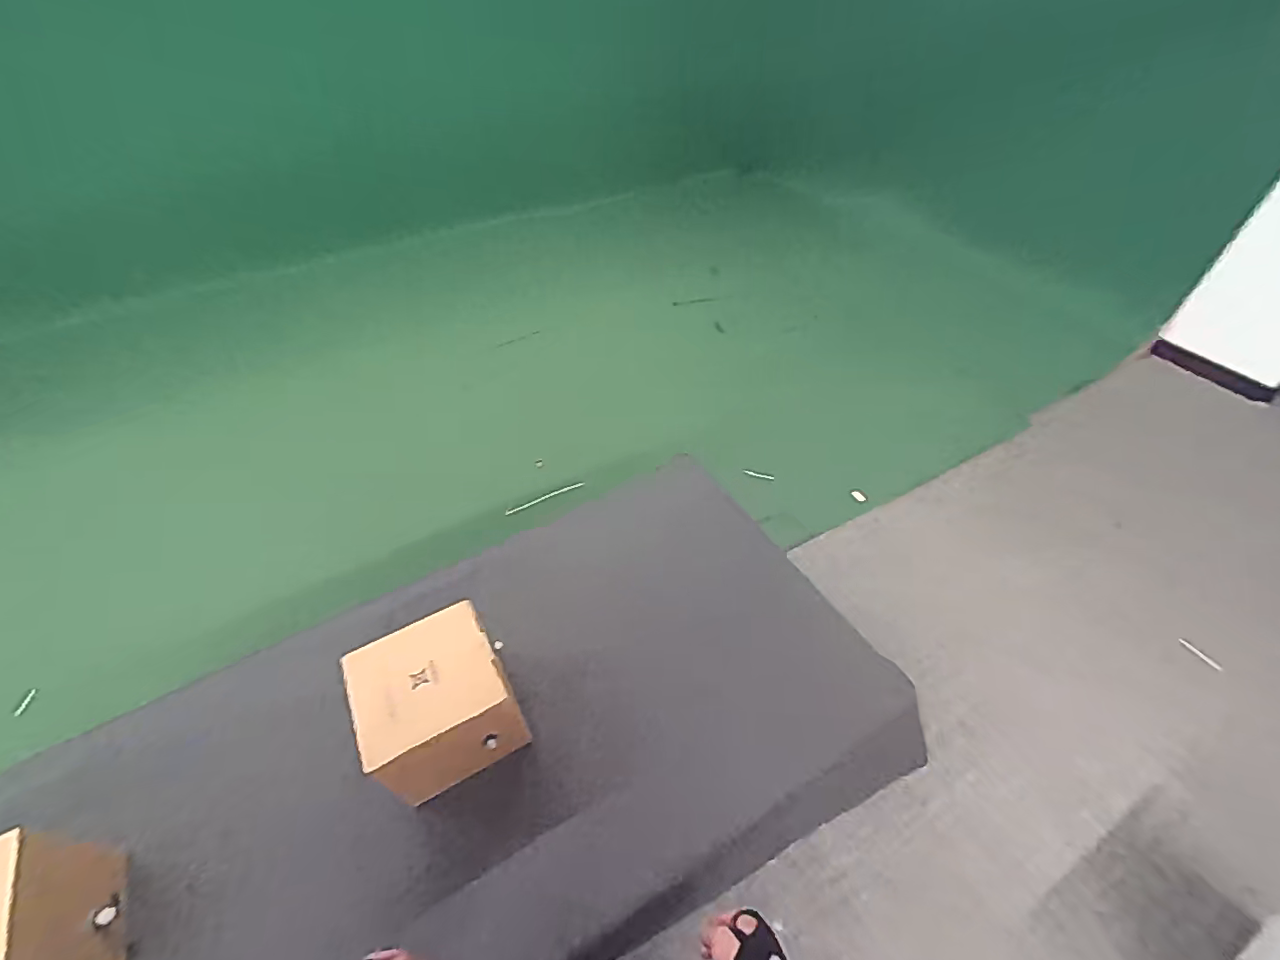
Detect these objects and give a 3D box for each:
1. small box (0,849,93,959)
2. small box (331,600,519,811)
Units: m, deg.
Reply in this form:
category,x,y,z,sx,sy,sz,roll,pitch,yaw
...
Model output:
category,x,y,z,sx,sy,sz,roll,pitch,yaw
small box,-0.688,0.499,0.515,0.179,0.176,0.168,-25,53,-24
small box,-0.273,0.299,0.719,0.179,0.176,0.168,-24,51,-21
